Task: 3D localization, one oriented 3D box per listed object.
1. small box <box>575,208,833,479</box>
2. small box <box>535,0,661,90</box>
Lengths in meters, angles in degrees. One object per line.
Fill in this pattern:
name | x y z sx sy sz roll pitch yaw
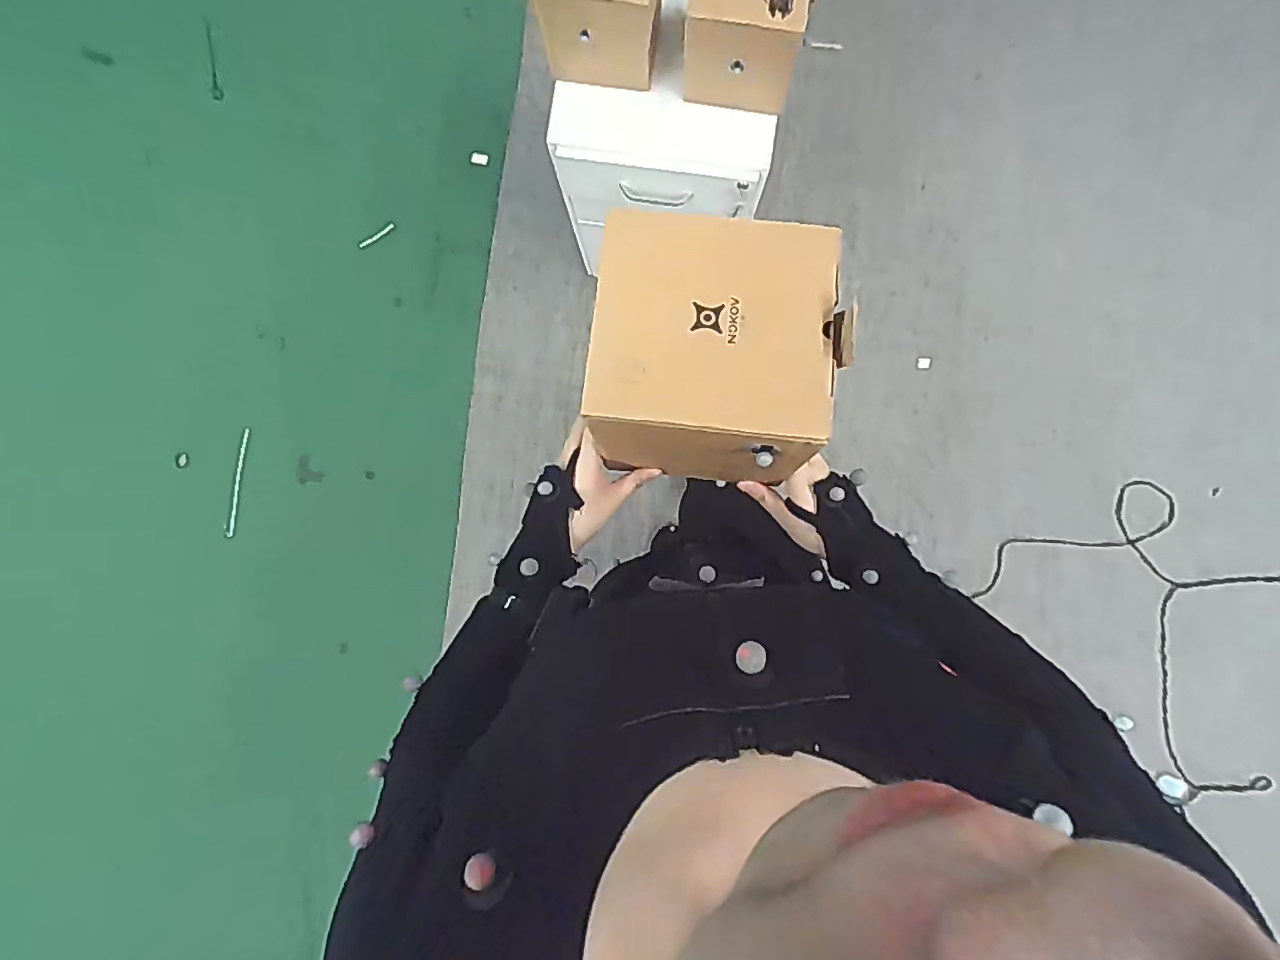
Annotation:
small box | 0.051 -0.102 0.467 0.179 0.176 0.168 6 79 2
small box | -0.062 -0.772 0.870 0.179 0.176 0.168 8 88 2
